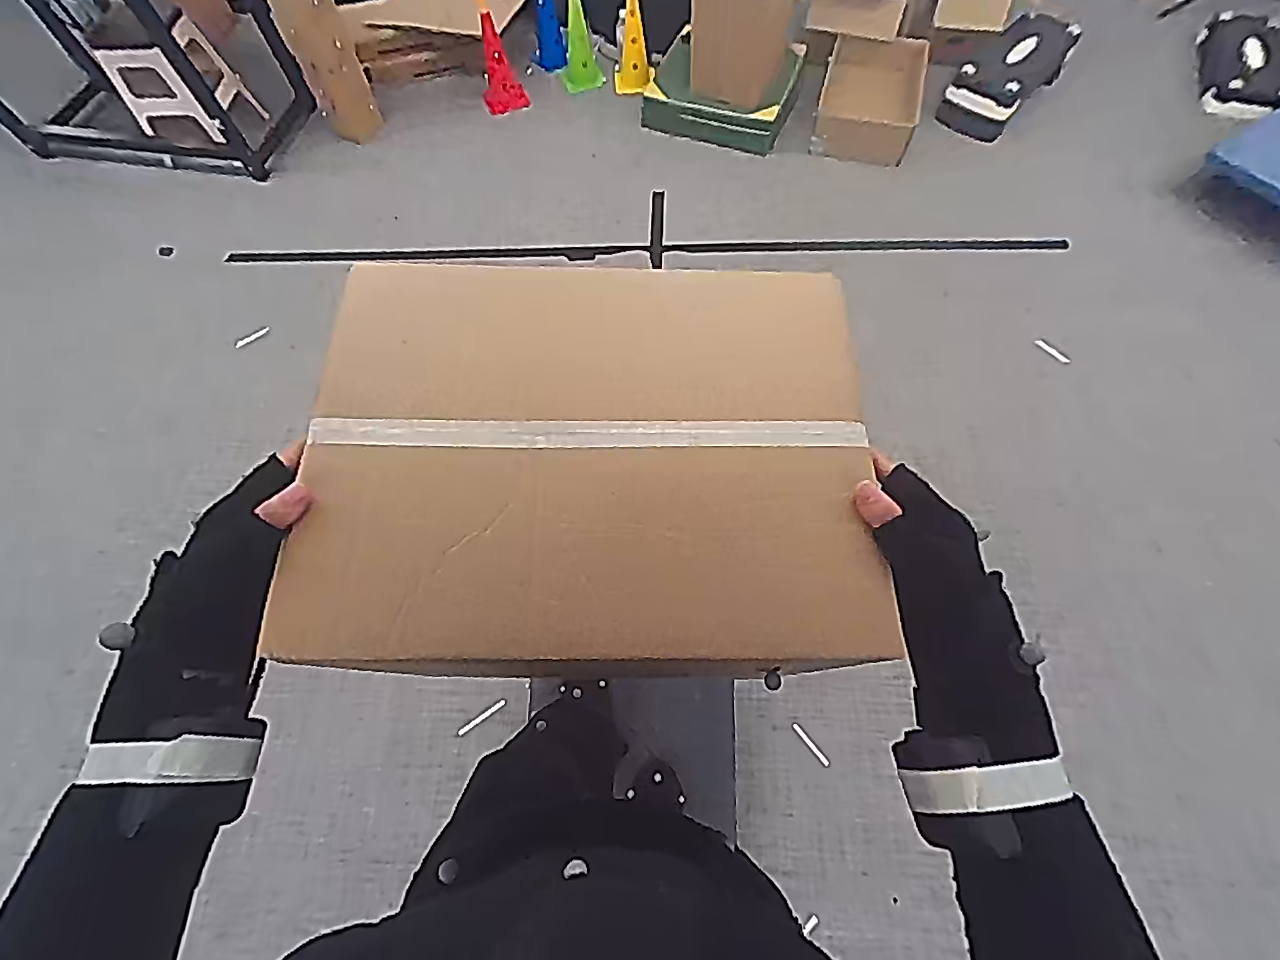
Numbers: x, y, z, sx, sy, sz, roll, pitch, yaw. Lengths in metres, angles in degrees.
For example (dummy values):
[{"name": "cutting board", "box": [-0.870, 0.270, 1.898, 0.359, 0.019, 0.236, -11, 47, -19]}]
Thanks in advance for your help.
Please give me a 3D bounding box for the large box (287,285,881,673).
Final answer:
[{"name": "large box", "box": [-0.038, 0.028, 0.550, 0.408, 0.320, 0.320, 0, 68, -1]}]
